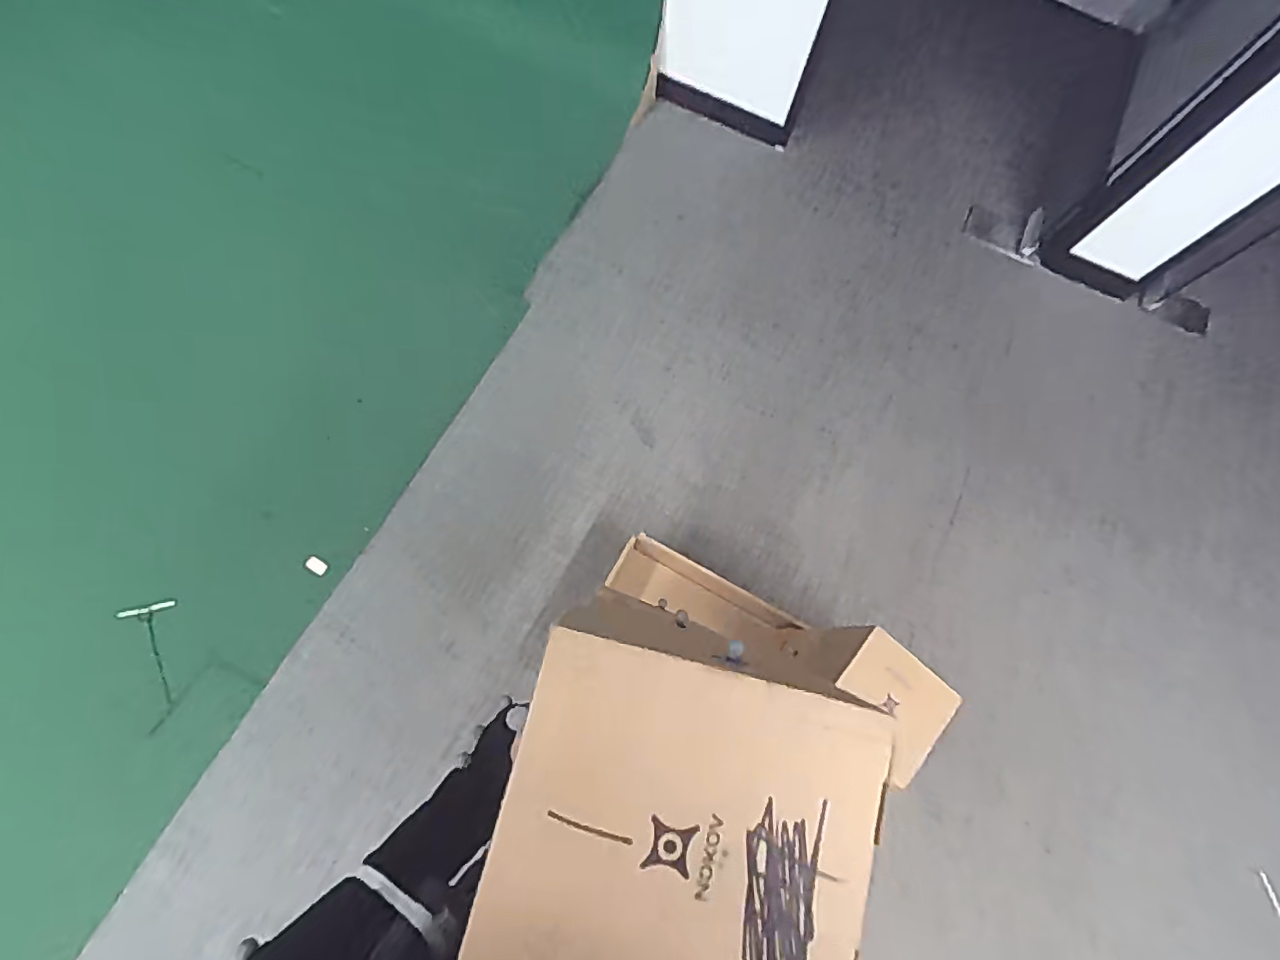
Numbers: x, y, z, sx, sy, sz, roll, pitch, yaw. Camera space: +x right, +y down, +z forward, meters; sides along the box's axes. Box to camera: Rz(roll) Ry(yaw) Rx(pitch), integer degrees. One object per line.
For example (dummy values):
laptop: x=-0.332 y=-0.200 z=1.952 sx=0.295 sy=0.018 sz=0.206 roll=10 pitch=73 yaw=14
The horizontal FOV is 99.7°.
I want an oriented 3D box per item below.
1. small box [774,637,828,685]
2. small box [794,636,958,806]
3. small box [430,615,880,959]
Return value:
small box: x=0.342 y=0.423 z=1.029 sx=0.179 sy=0.176 sz=0.168 roll=40 pitch=75 yaw=8
small box: x=0.355 y=0.375 z=0.874 sx=0.168 sy=0.176 sz=0.179 roll=42 pitch=75 yaw=8
small box: x=0.005 y=0.183 z=0.319 sx=0.179 sy=0.176 sz=0.168 roll=16 pitch=79 yaw=-1
